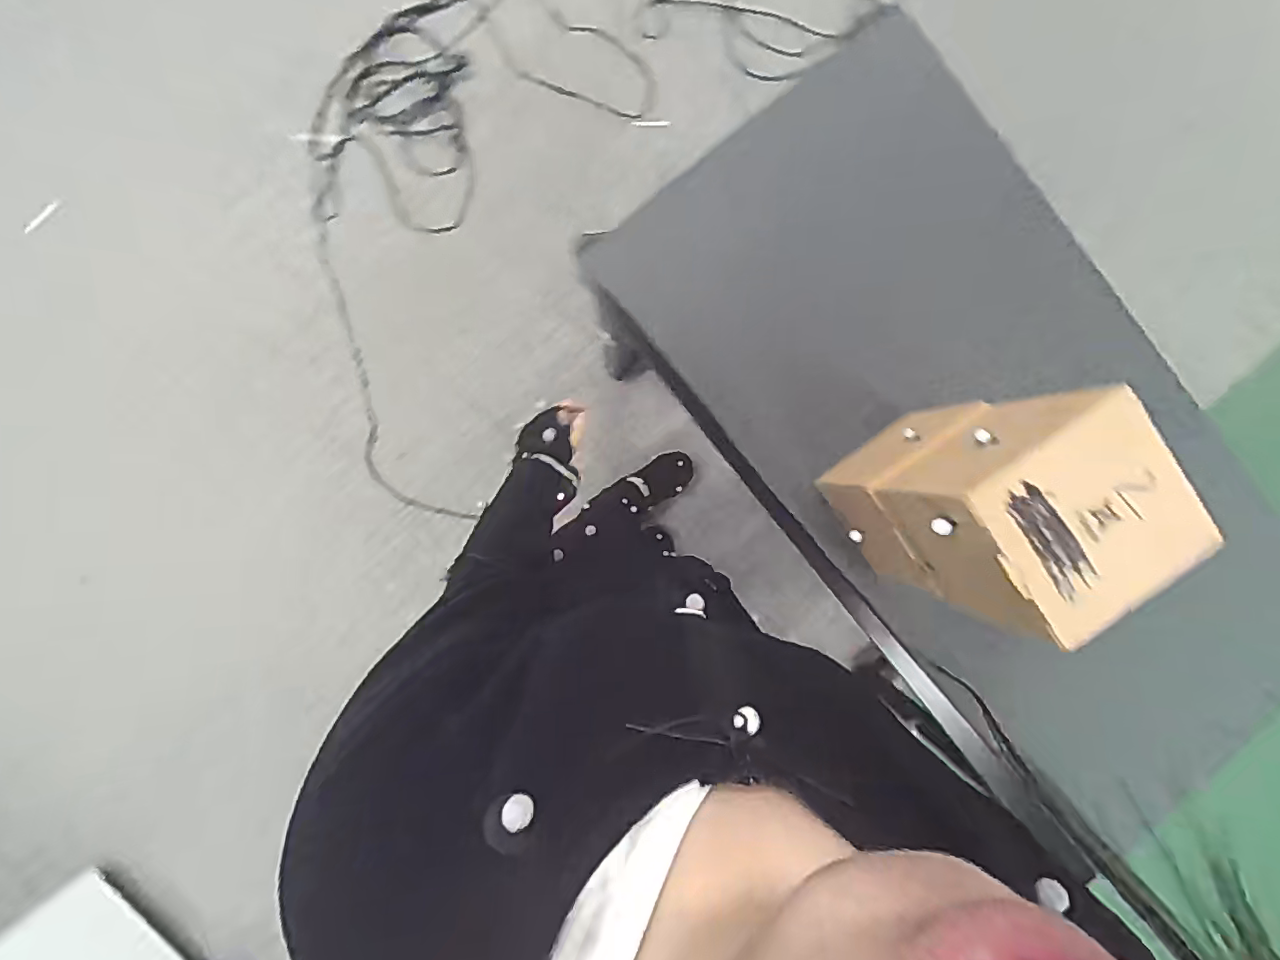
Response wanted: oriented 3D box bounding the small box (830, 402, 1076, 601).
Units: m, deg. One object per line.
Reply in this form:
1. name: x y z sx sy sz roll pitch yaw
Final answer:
1. small box: 0.381 0.022 0.692 0.179 0.176 0.168 -35 92 -1
